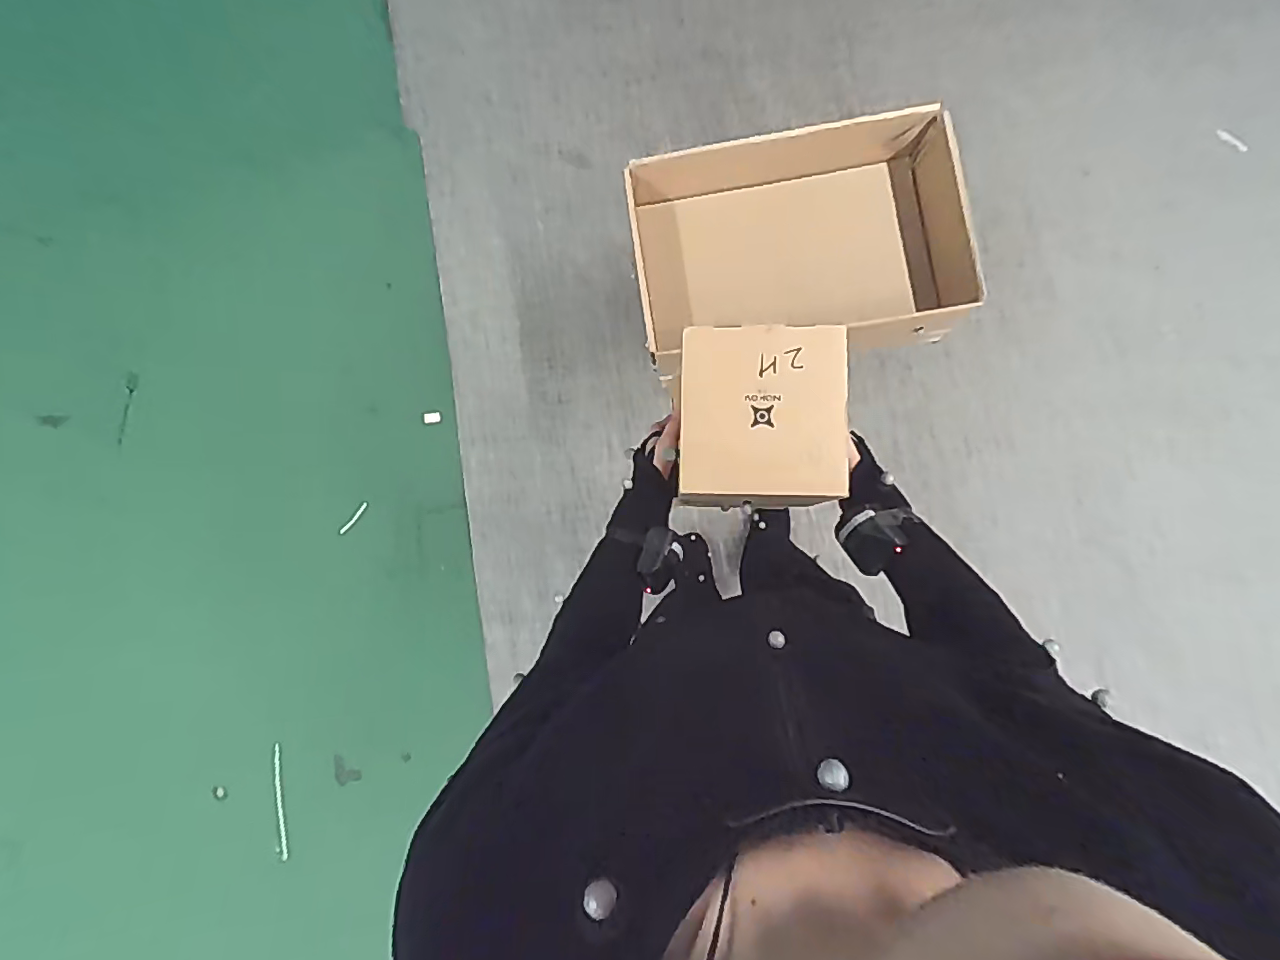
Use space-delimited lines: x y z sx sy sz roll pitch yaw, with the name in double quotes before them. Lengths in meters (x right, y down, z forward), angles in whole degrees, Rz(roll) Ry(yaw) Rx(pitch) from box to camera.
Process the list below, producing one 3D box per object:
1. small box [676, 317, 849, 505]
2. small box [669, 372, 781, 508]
"small box" 0.127 -0.065 0.604 0.168 0.176 0.179 1 83 5
"small box" 0.134 -0.049 0.768 0.179 0.176 0.168 1 83 5
